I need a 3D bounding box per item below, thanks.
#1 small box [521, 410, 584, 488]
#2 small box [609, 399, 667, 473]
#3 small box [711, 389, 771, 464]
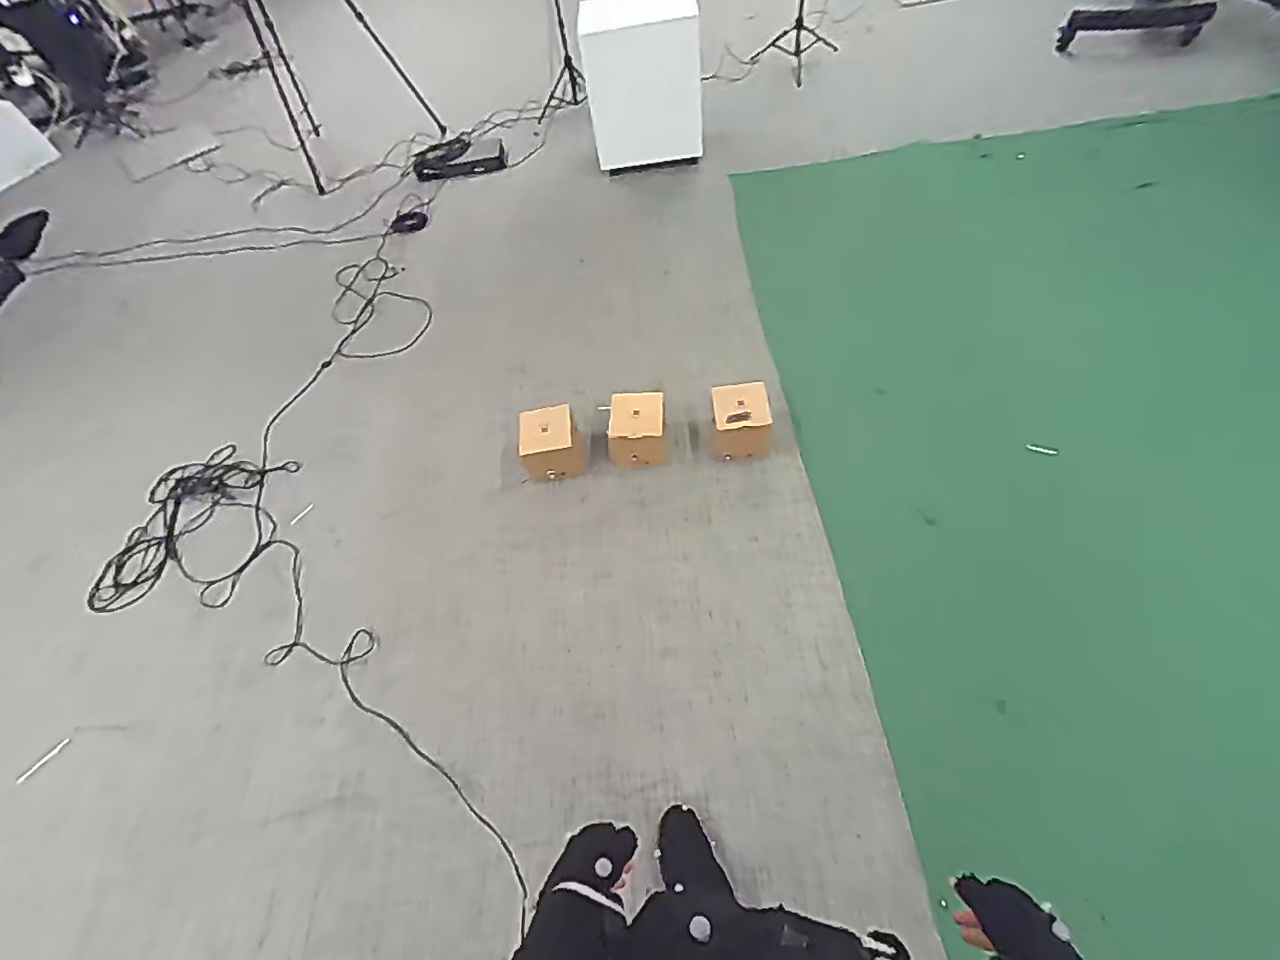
[{"bbox_3d":[-0.283,-0.098,1.756,0.168,0.176,0.179,-10,58,3],"label":"small box"},{"bbox_3d":[-0.001,-0.141,1.747,0.168,0.176,0.179,-1,57,7],"label":"small box"},{"bbox_3d":[0.317,-0.162,1.717,0.168,0.176,0.179,-6,55,4],"label":"small box"}]
